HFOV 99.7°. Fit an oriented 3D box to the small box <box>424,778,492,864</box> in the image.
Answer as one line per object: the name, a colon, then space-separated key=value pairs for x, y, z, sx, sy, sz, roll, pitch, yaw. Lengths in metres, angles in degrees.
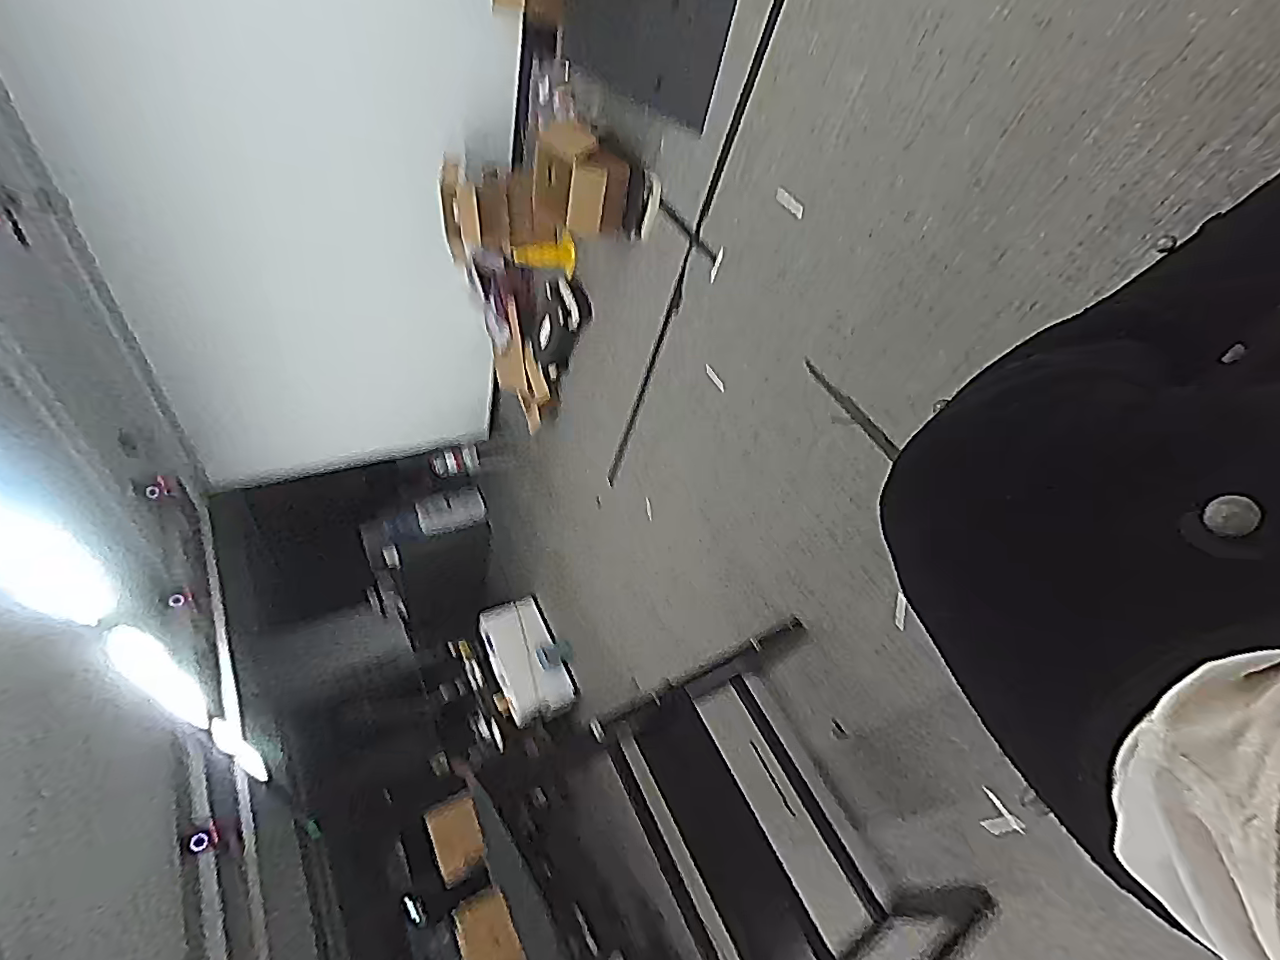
small box: x=-0.592 y=1.110 z=1.767 sx=0.168 sy=0.176 sz=0.179 roll=55 pitch=146 yaw=31

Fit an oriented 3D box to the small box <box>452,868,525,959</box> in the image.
small box: x=-0.462 y=1.322 z=1.650 sx=0.168 sy=0.176 sz=0.179 roll=57 pitch=147 yaw=28

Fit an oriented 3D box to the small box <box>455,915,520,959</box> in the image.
small box: x=-0.520 y=1.529 z=1.842 sx=0.179 sy=0.176 sz=0.168 roll=58 pitch=146 yaw=27
